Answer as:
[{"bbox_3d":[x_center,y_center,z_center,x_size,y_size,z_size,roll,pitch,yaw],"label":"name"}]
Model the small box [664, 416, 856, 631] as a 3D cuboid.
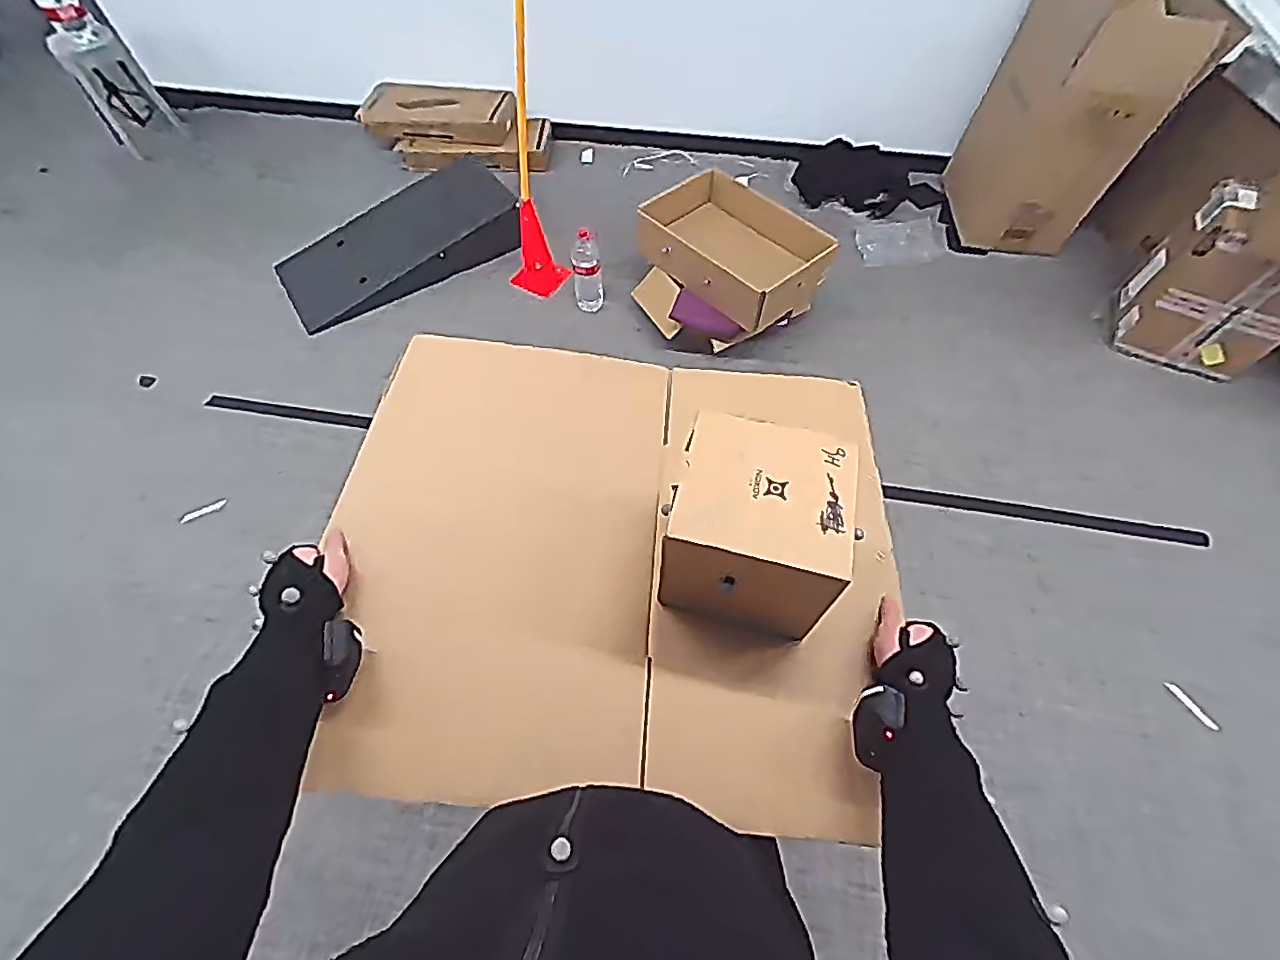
[{"bbox_3d":[0.128,0.054,0.614,0.179,0.176,0.168,12,57,9],"label":"small box"}]
